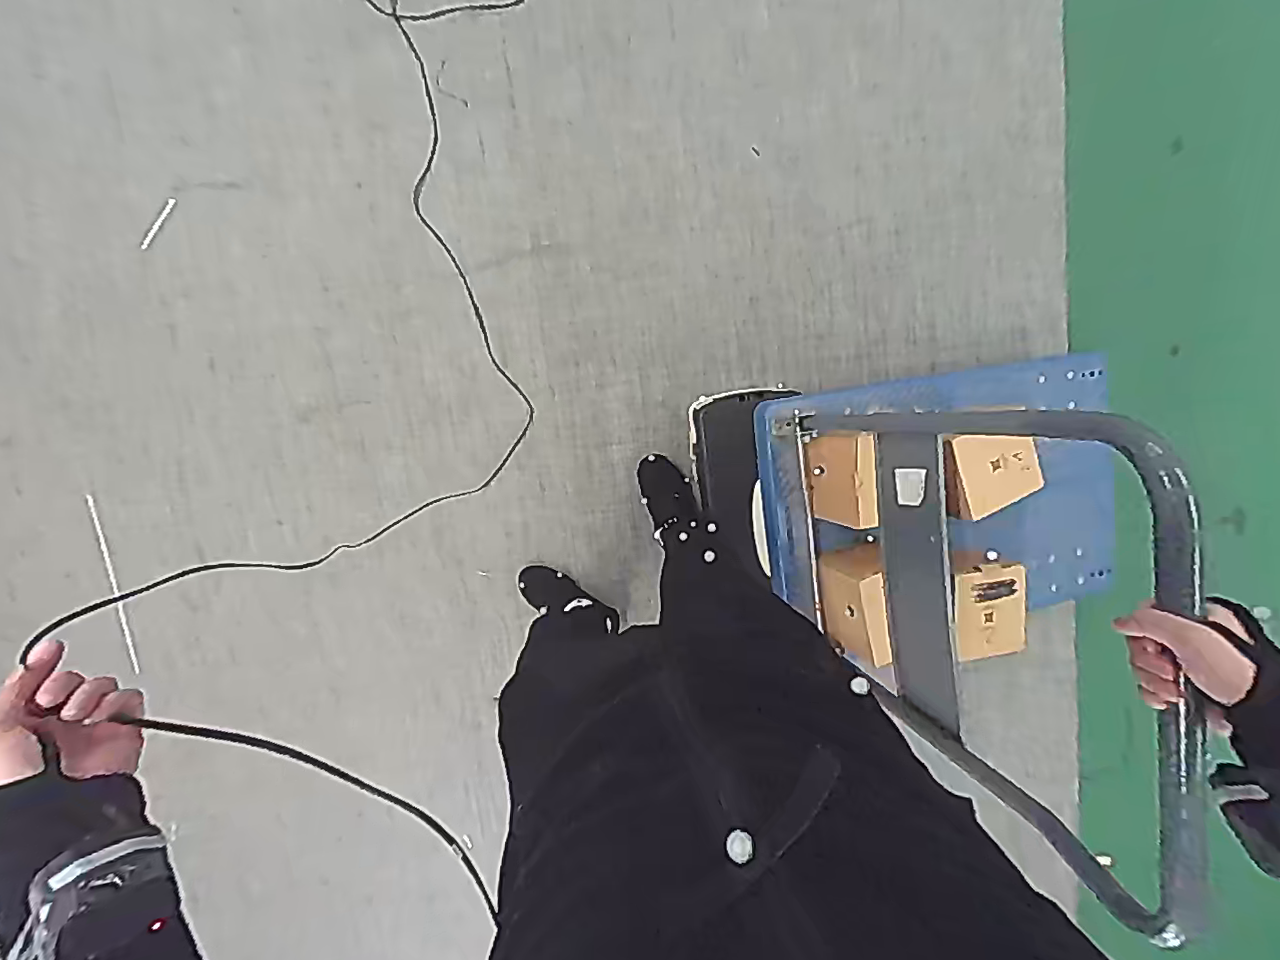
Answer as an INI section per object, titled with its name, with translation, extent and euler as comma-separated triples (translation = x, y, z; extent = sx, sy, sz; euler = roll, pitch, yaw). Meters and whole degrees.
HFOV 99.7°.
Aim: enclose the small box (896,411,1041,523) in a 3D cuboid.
[small box]
translation = 0.644, -0.030, 1.082
extent = 0.179, 0.176, 0.168
euler = -22, 101, -10
